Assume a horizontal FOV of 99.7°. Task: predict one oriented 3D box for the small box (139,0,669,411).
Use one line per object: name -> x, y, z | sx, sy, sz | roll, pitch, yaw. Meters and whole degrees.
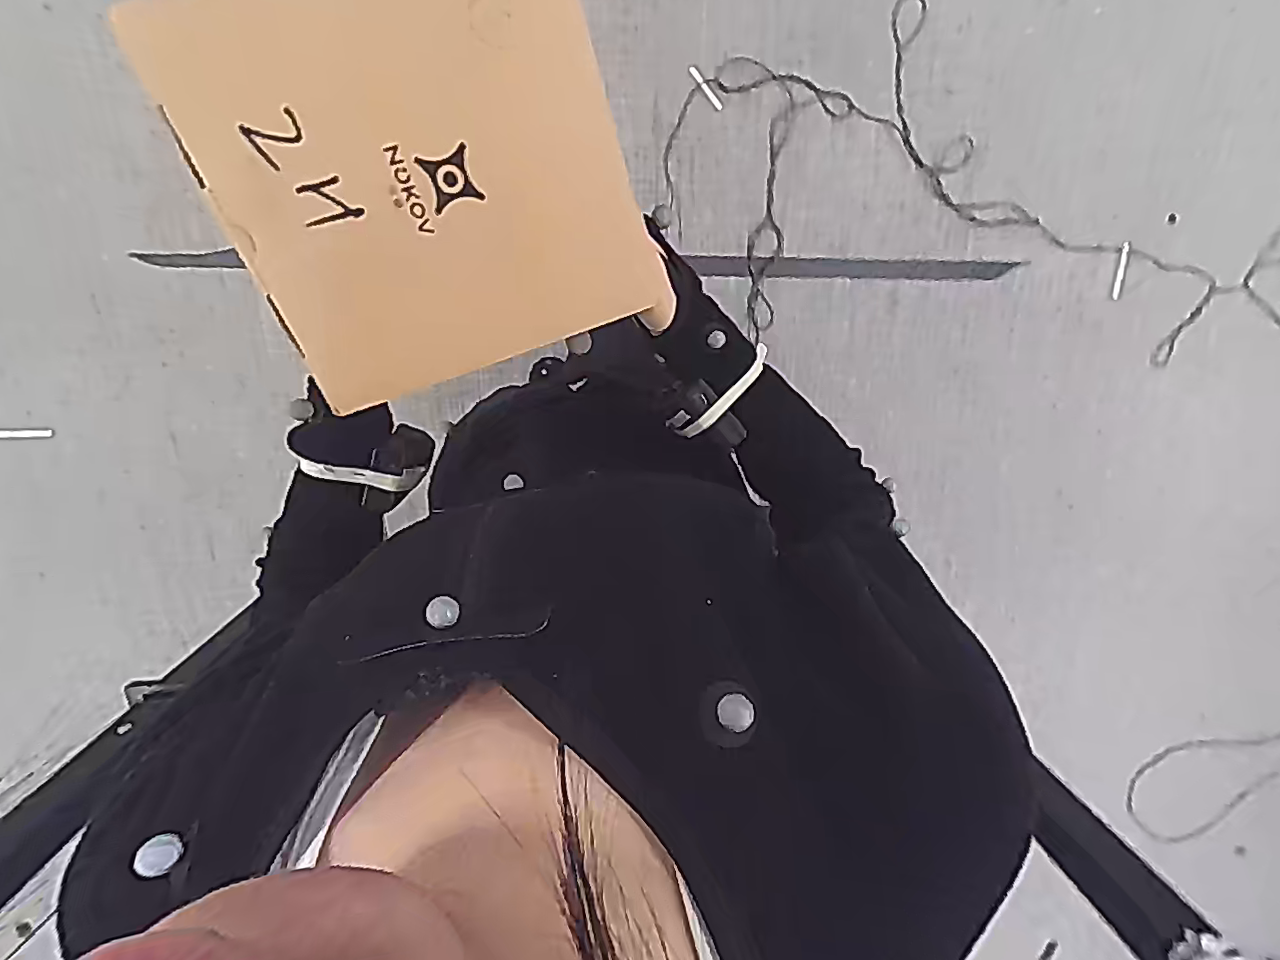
small box -> -0.103, -0.161, 0.312 | 0.179, 0.176, 0.168 | -19, 115, -5
